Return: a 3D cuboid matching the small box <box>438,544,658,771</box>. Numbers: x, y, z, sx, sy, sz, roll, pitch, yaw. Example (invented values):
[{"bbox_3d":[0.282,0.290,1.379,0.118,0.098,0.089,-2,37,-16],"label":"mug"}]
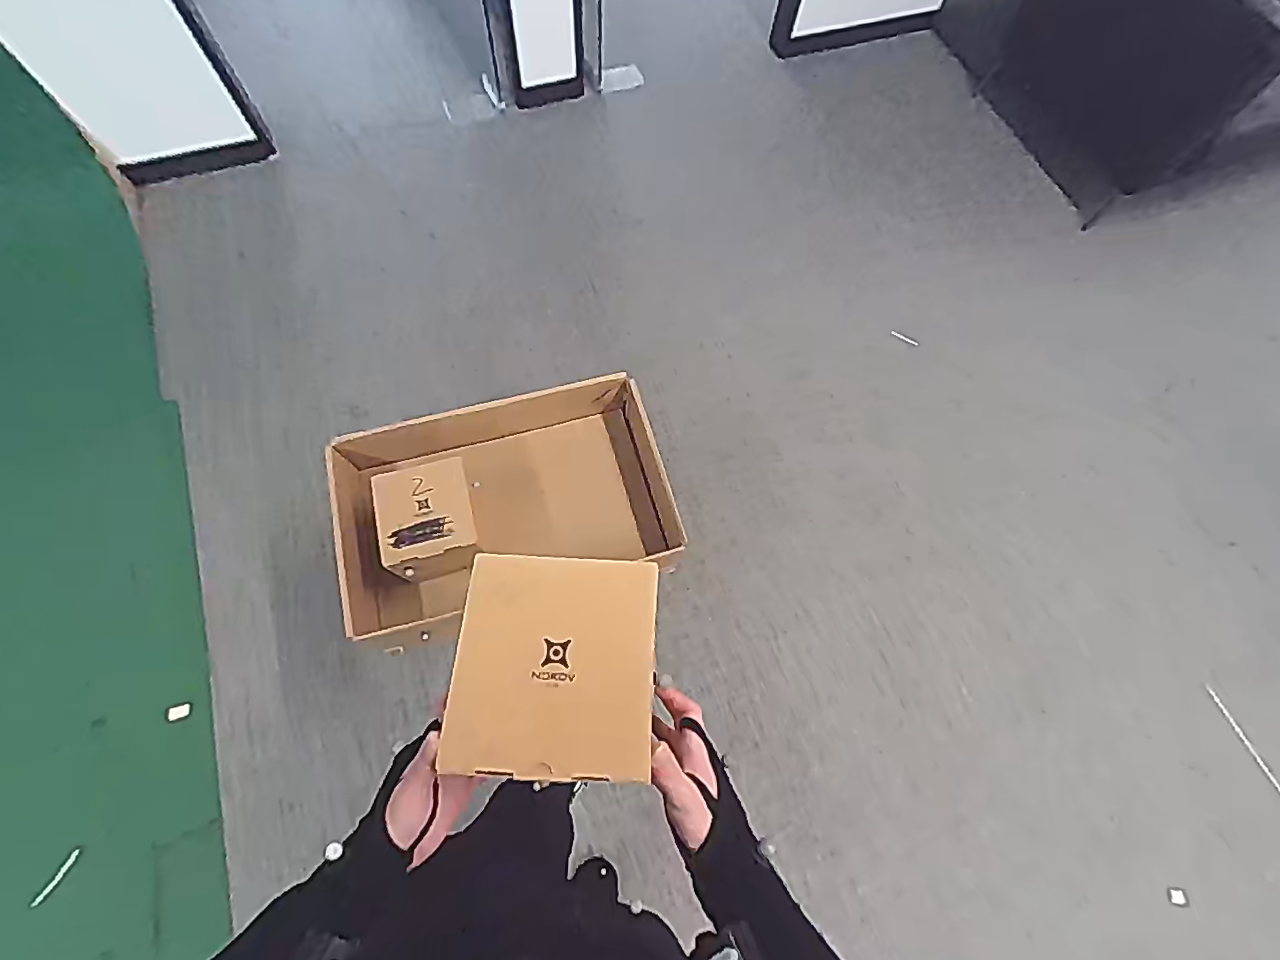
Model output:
[{"bbox_3d":[-0.072,0.174,0.522,0.168,0.176,0.179,2,66,1],"label":"small box"}]
